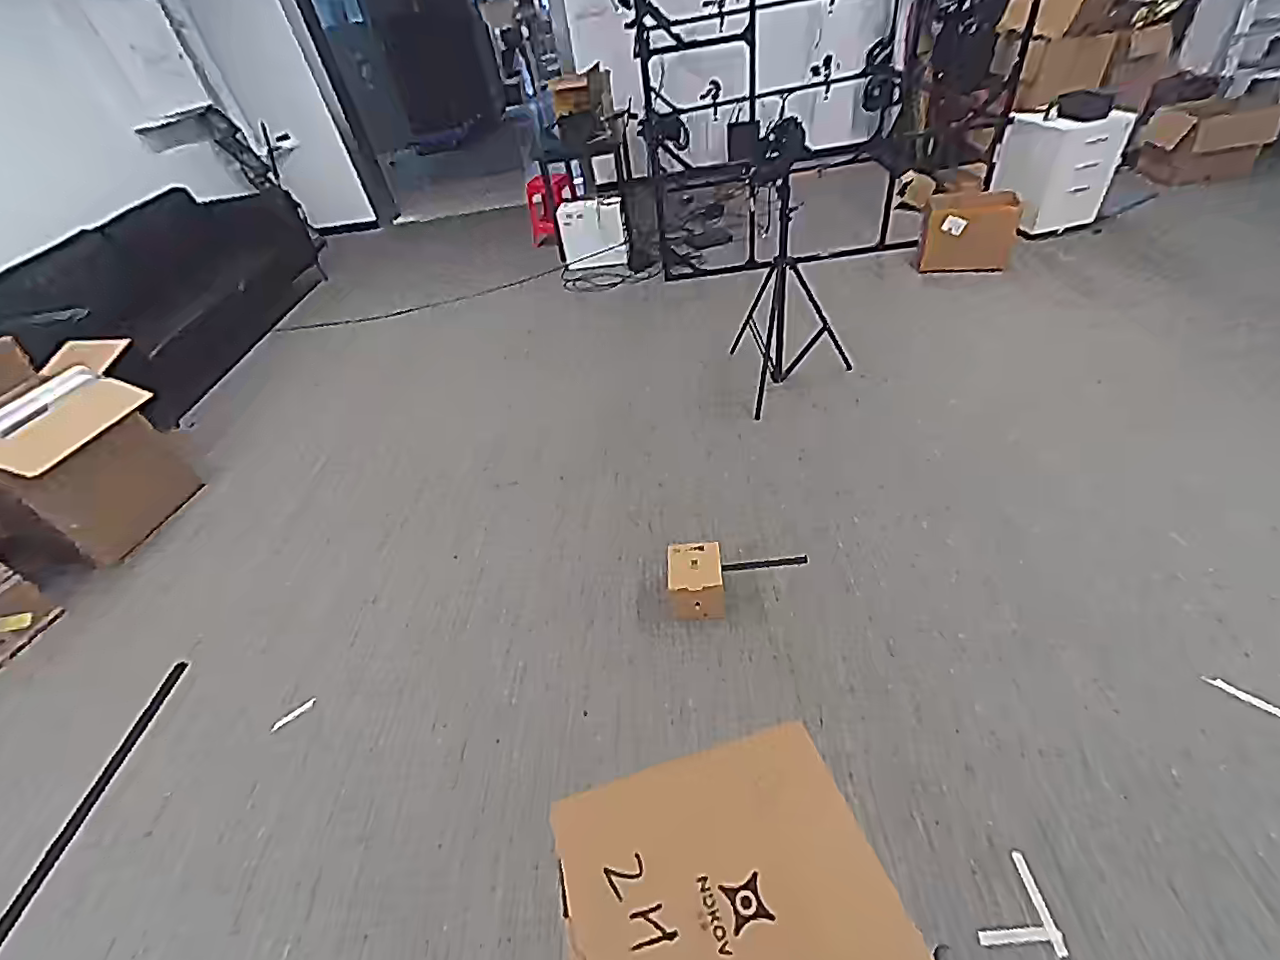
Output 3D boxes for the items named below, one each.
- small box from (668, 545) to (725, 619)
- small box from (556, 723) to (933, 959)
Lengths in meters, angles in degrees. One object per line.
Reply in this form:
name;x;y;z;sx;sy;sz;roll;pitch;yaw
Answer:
small box;0.181;0.332;1.729;0.168;0.176;0.179;-5;43;7
small box;0.056;0.292;0.340;0.179;0.176;0.168;-13;37;-9
